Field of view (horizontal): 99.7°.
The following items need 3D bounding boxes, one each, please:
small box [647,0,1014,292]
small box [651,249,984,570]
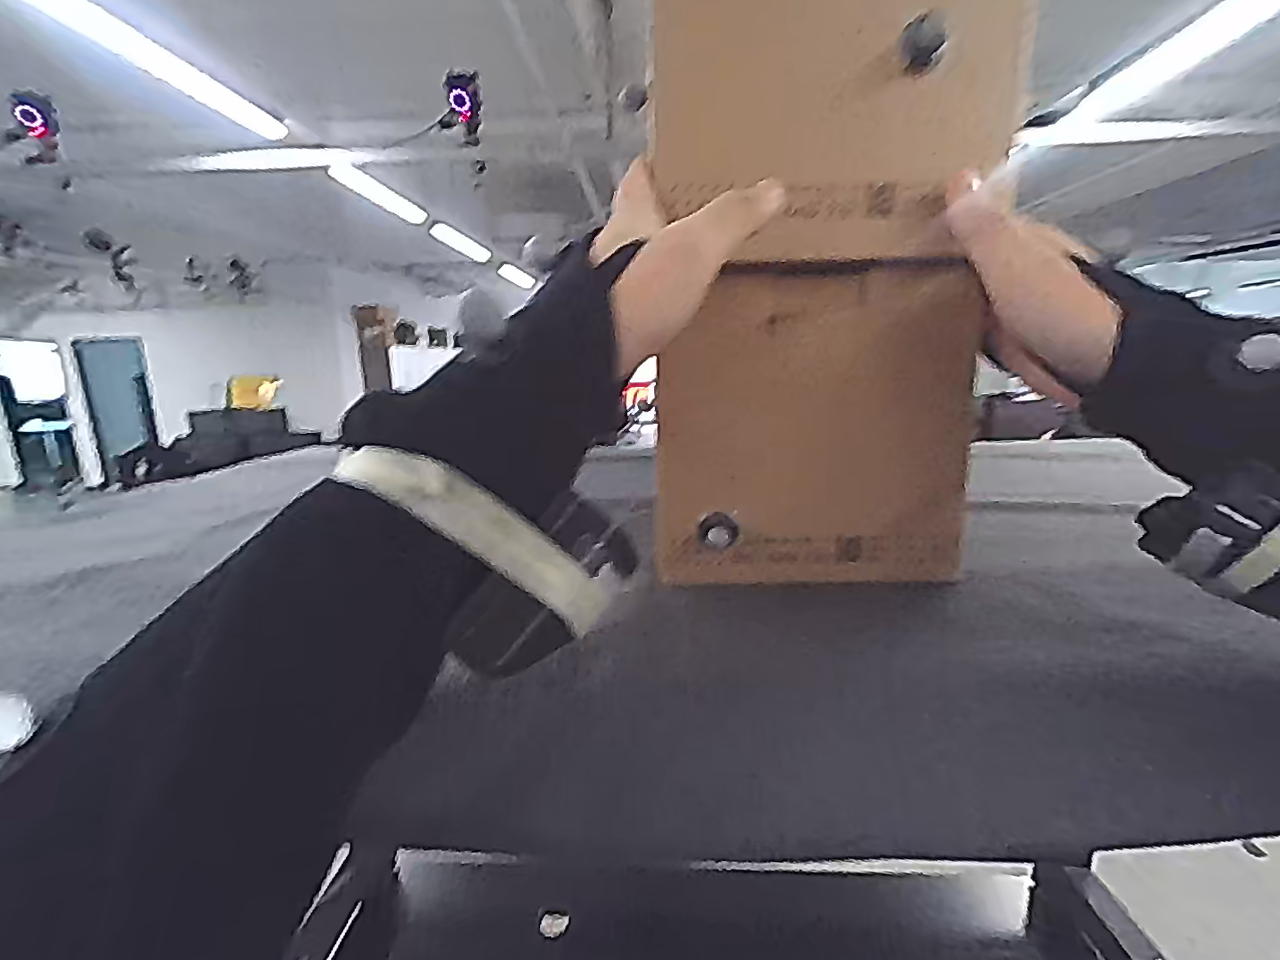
[{"bbox_3d":[0.088,-0.201,0.316,0.168,0.176,0.179,0,11,0],"label":"small box"},{"bbox_3d":[0.094,-0.044,0.362,0.168,0.176,0.179,0,11,3],"label":"small box"}]
